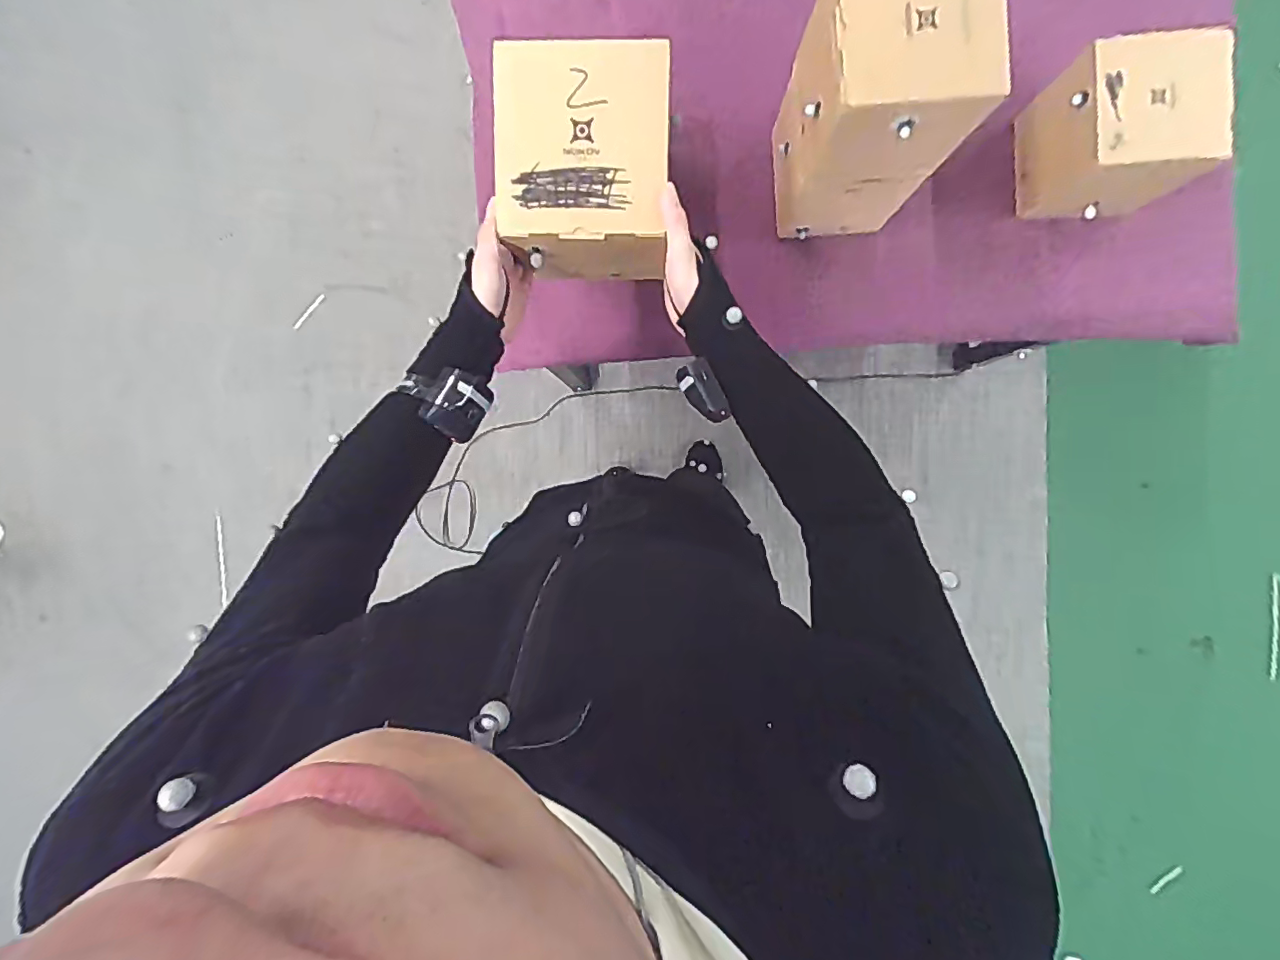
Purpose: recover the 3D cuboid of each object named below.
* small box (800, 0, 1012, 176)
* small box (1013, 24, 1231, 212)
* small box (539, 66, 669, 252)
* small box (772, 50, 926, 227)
[{"bbox_3d":[0.294,-0.483,0.636,0.179,0.176,0.168,-4,93,1],"label":"small box"},{"bbox_3d":[0.688,-0.512,0.788,0.179,0.176,0.168,-3,91,1],"label":"small box"},{"bbox_3d":[-0.048,-0.464,0.806,0.168,0.176,0.179,-5,92,2],"label":"small box"},{"bbox_3d":[0.297,-0.493,0.799,0.168,0.176,0.179,-4,92,1],"label":"small box"}]
